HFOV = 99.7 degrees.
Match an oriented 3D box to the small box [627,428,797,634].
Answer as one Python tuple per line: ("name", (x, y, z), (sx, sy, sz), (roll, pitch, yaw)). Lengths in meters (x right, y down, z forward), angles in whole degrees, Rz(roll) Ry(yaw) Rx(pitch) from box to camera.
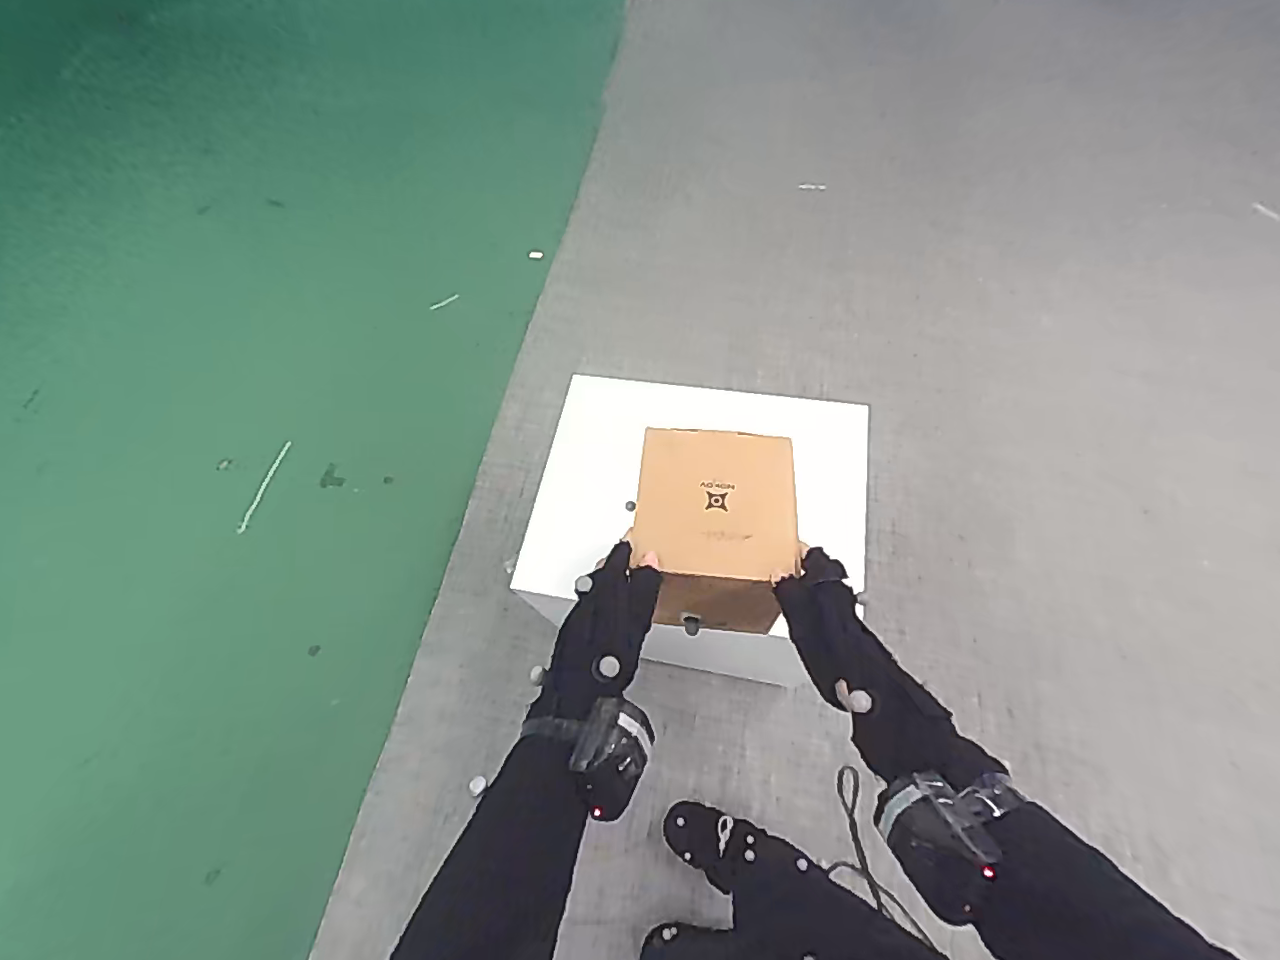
("small box", (0.078, 0.062, 0.623), (0.168, 0.176, 0.179), (4, 59, 5))
